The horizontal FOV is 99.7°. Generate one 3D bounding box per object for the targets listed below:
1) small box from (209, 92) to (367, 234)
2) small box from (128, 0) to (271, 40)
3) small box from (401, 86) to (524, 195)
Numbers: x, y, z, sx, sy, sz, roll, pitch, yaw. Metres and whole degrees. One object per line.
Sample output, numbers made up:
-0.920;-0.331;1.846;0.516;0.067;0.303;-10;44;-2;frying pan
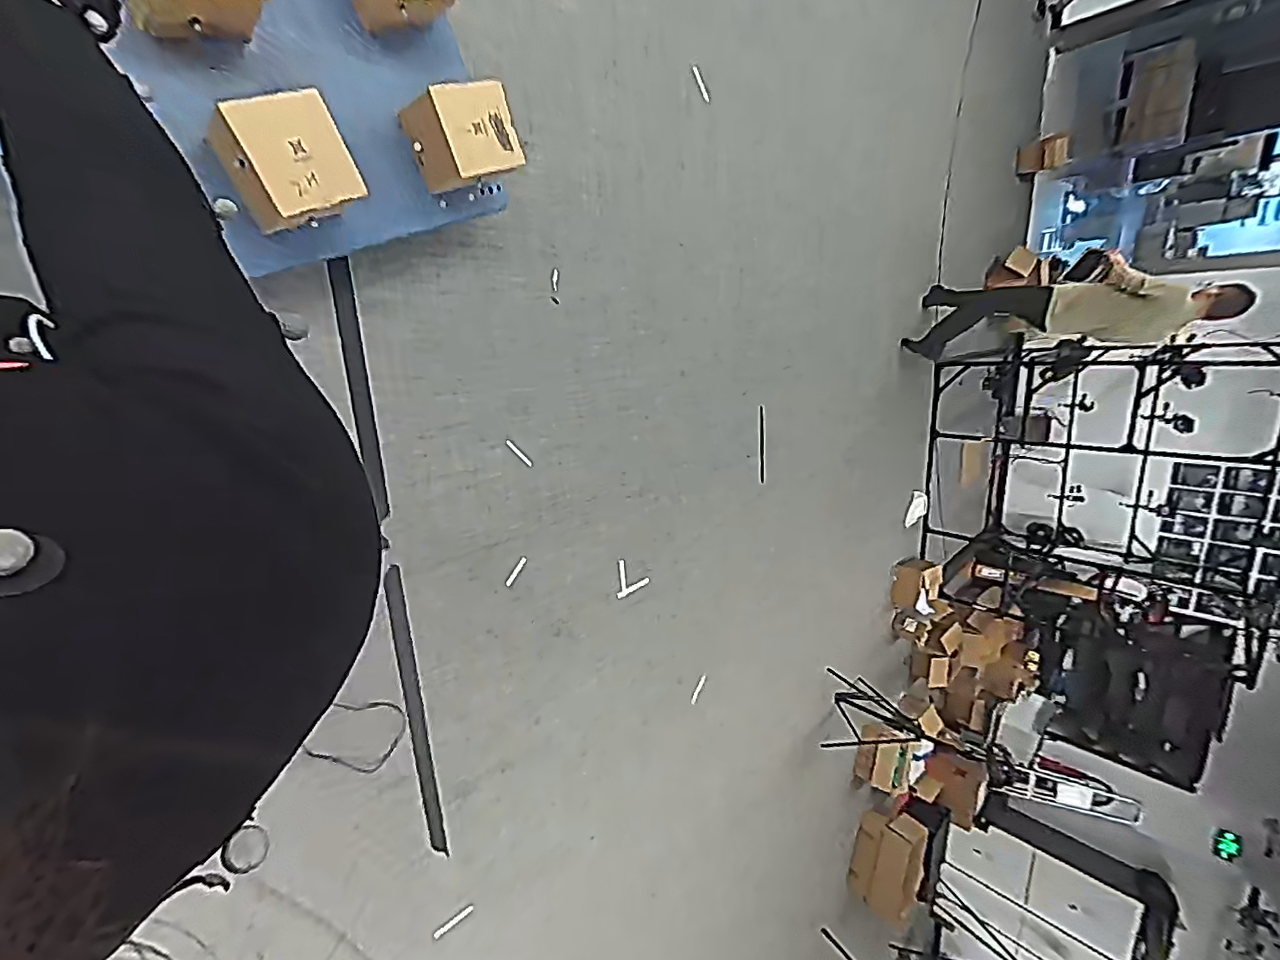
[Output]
-0.650;-0.579;0.998;0.168;0.176;0.179;-39;124;-33;small box
-0.735;-0.842;0.859;0.168;0.176;0.179;-34;123;-36;small box
-0.398;-0.757;1.213;0.179;0.176;0.168;-35;121;-34;small box
